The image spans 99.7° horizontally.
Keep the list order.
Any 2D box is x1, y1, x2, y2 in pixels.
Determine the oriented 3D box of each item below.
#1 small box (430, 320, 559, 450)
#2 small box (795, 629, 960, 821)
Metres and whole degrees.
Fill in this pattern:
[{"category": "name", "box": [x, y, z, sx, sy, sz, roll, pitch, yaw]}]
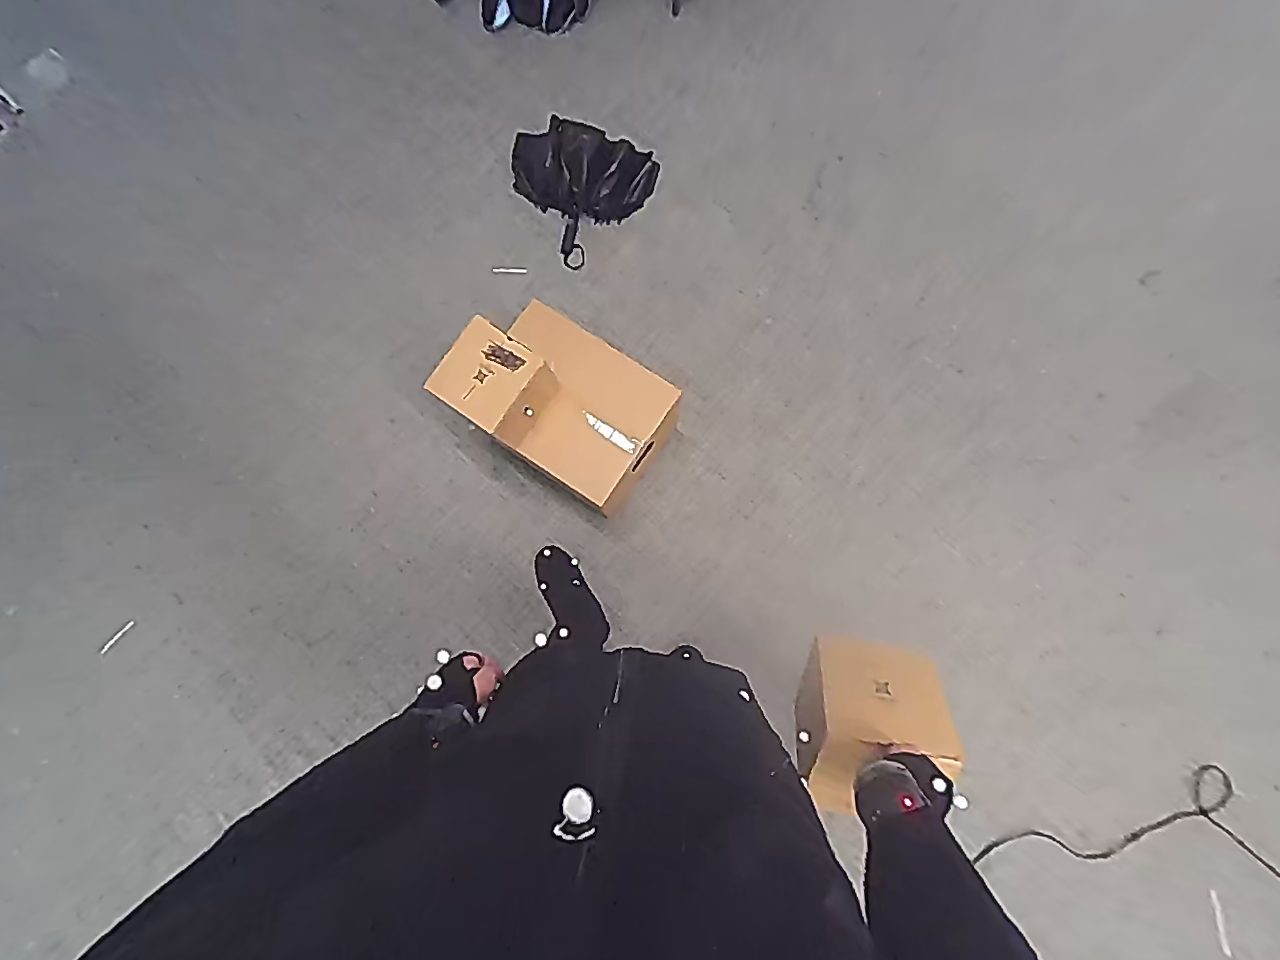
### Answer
[{"category": "small box", "box": [-0.283, -0.184, 1.103, 0.168, 0.176, 0.179, 35, 87, 7]}, {"category": "small box", "box": [0.325, 0.350, 0.779, 0.168, 0.179, 0.176, 10, 123, 8]}]
